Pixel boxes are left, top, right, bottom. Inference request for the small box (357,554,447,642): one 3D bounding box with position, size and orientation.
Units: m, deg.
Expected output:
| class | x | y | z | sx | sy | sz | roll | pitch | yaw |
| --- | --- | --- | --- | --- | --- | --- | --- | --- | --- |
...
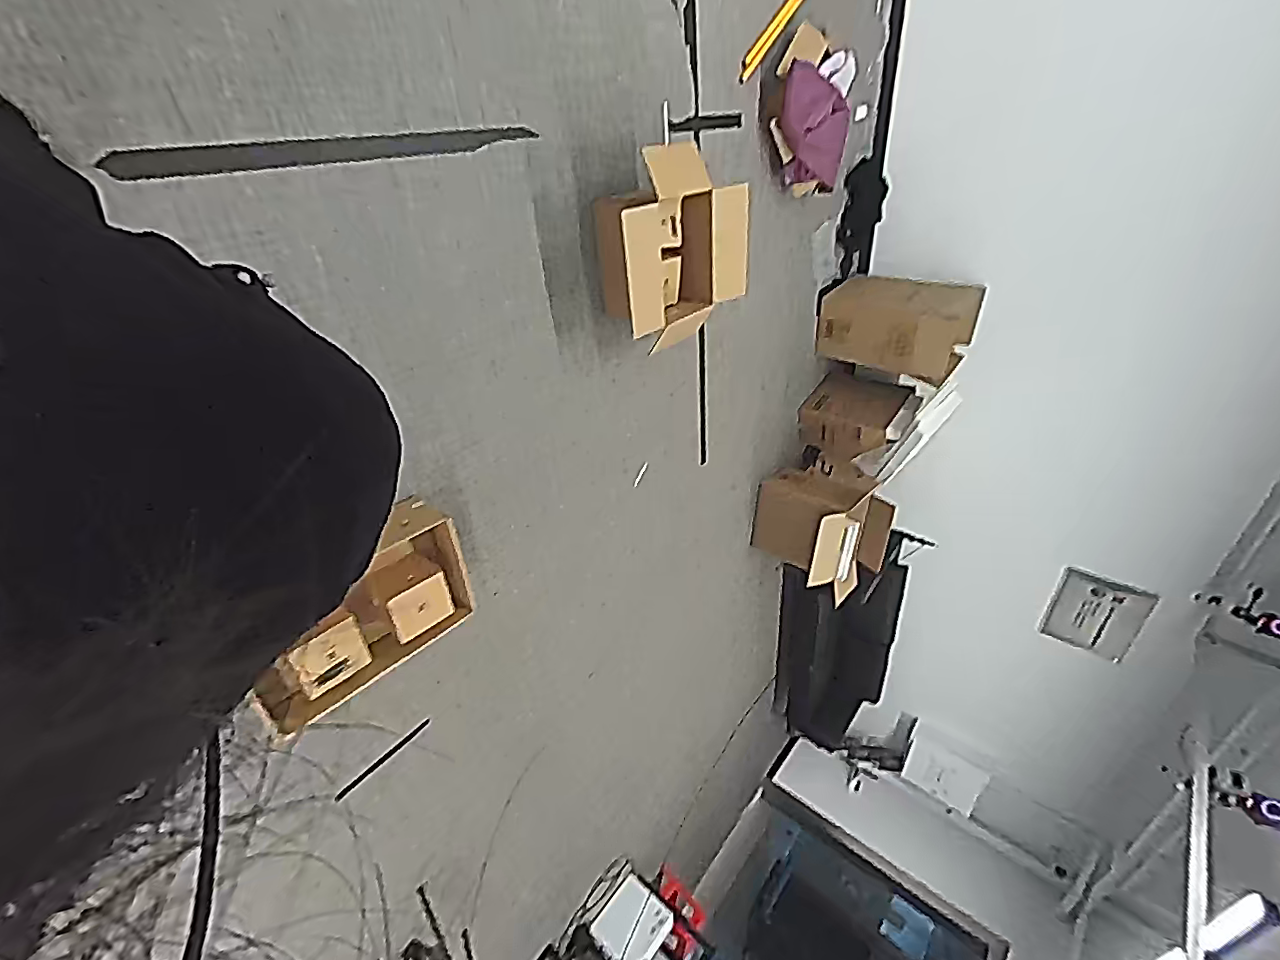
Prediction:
| class | x | y | z | sx | sy | sz | roll | pitch | yaw |
| --- | --- | --- | --- | --- | --- | --- | --- | --- | --- |
| small box | -0.722 | 0.351 | 1.646 | 0.179 | 0.176 | 0.168 | -30 | 128 | -39 |
